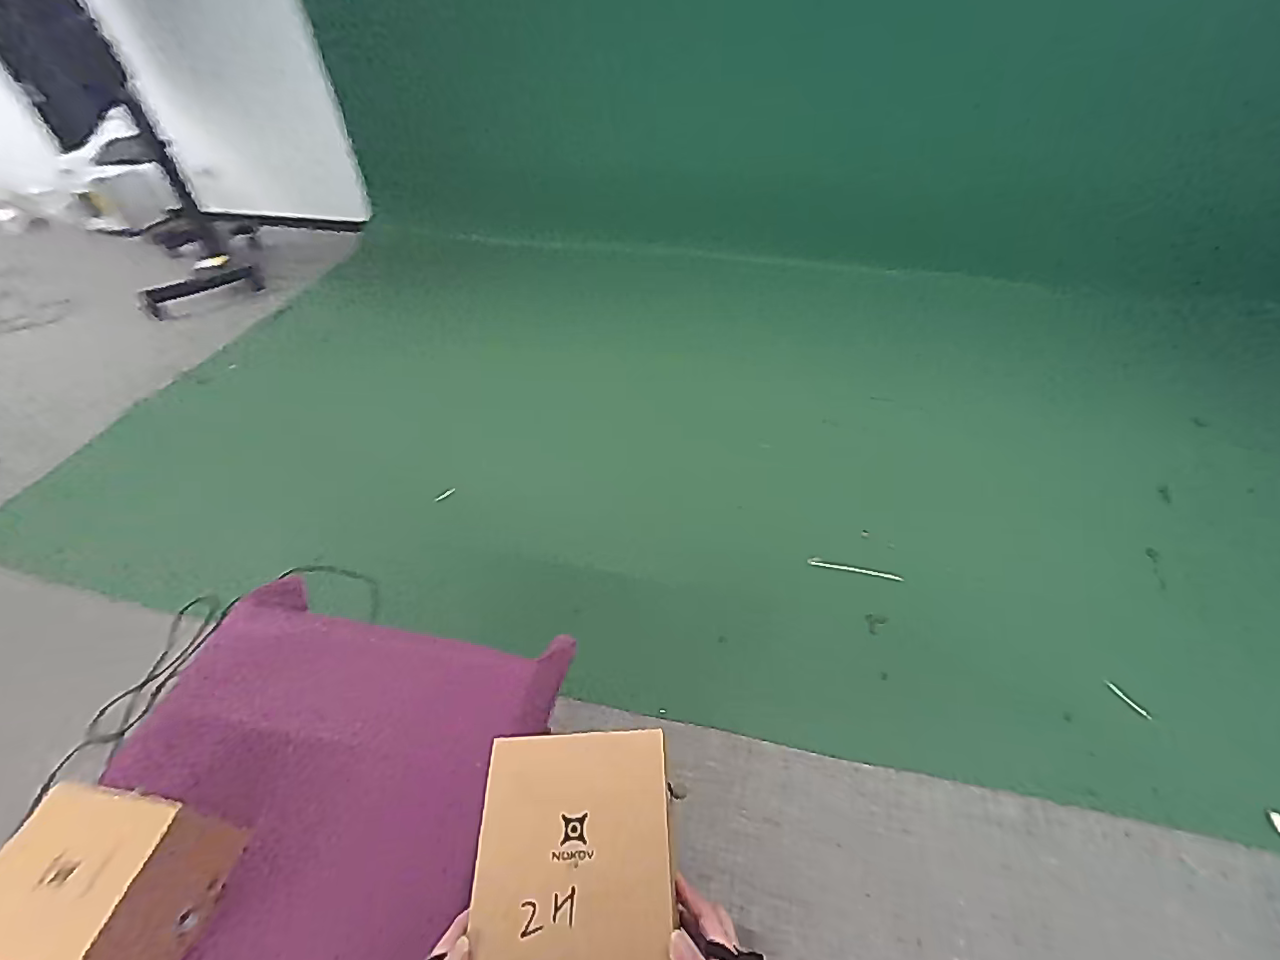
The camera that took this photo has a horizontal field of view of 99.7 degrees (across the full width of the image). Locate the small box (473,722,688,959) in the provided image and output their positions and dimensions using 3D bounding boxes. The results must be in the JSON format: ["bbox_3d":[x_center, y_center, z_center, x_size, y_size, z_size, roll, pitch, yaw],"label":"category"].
[{"bbox_3d":[-0.040,0.353,0.524,0.168,0.176,0.179,-4,49,4],"label":"small box"}]

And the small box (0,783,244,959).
[{"bbox_3d":[-0.650,0.498,0.662,0.179,0.176,0.168,7,47,7],"label":"small box"}]
